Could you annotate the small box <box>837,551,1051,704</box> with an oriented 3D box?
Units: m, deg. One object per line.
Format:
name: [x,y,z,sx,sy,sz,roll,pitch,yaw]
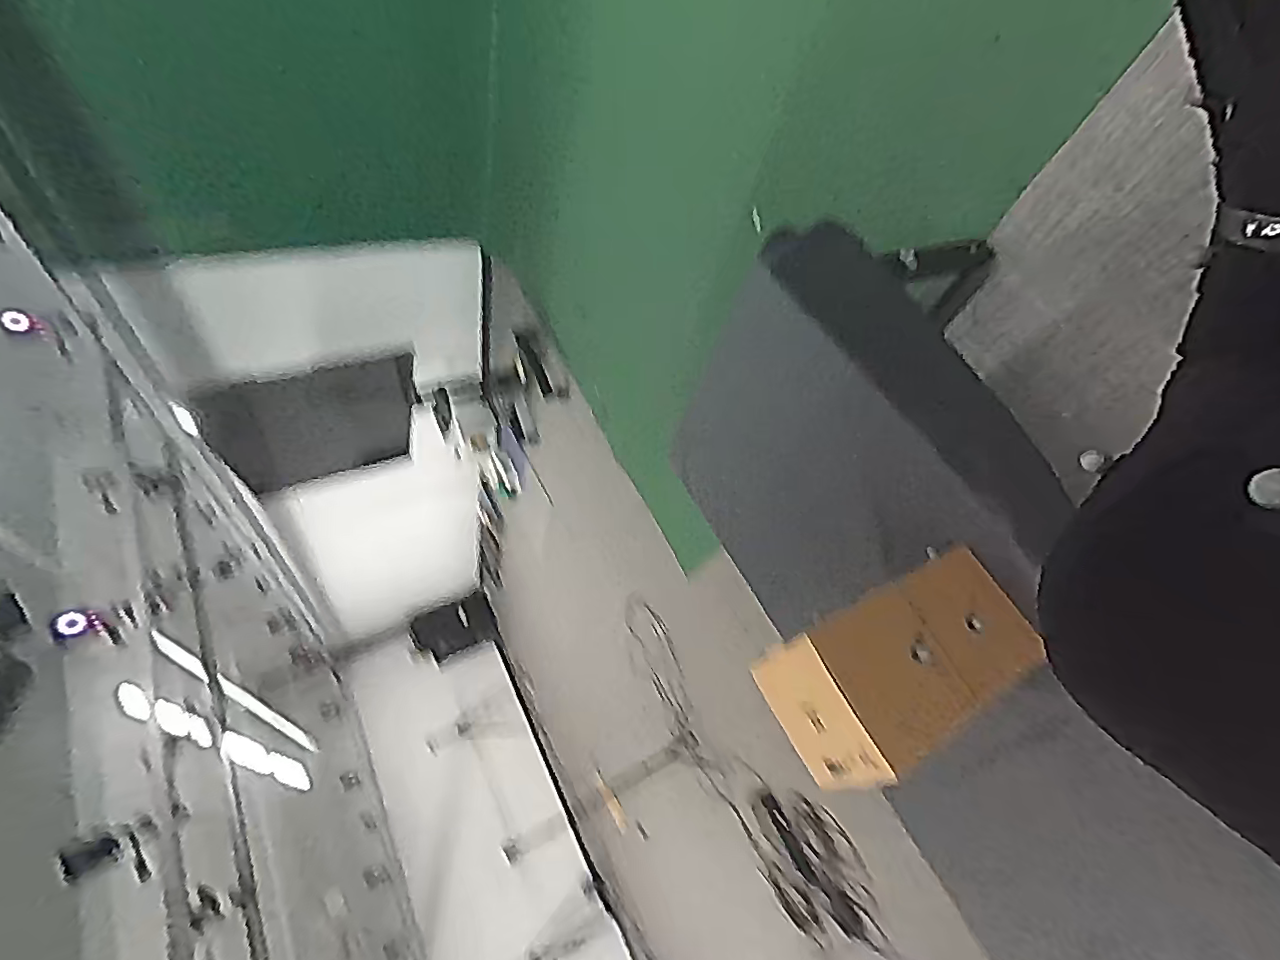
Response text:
small box: [0.440,0.222,0.799,0.179,0.176,0.168,61,155,20]

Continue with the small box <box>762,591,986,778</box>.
small box: [0.304,0.266,0.725,0.179,0.176,0.168,61,153,22]
